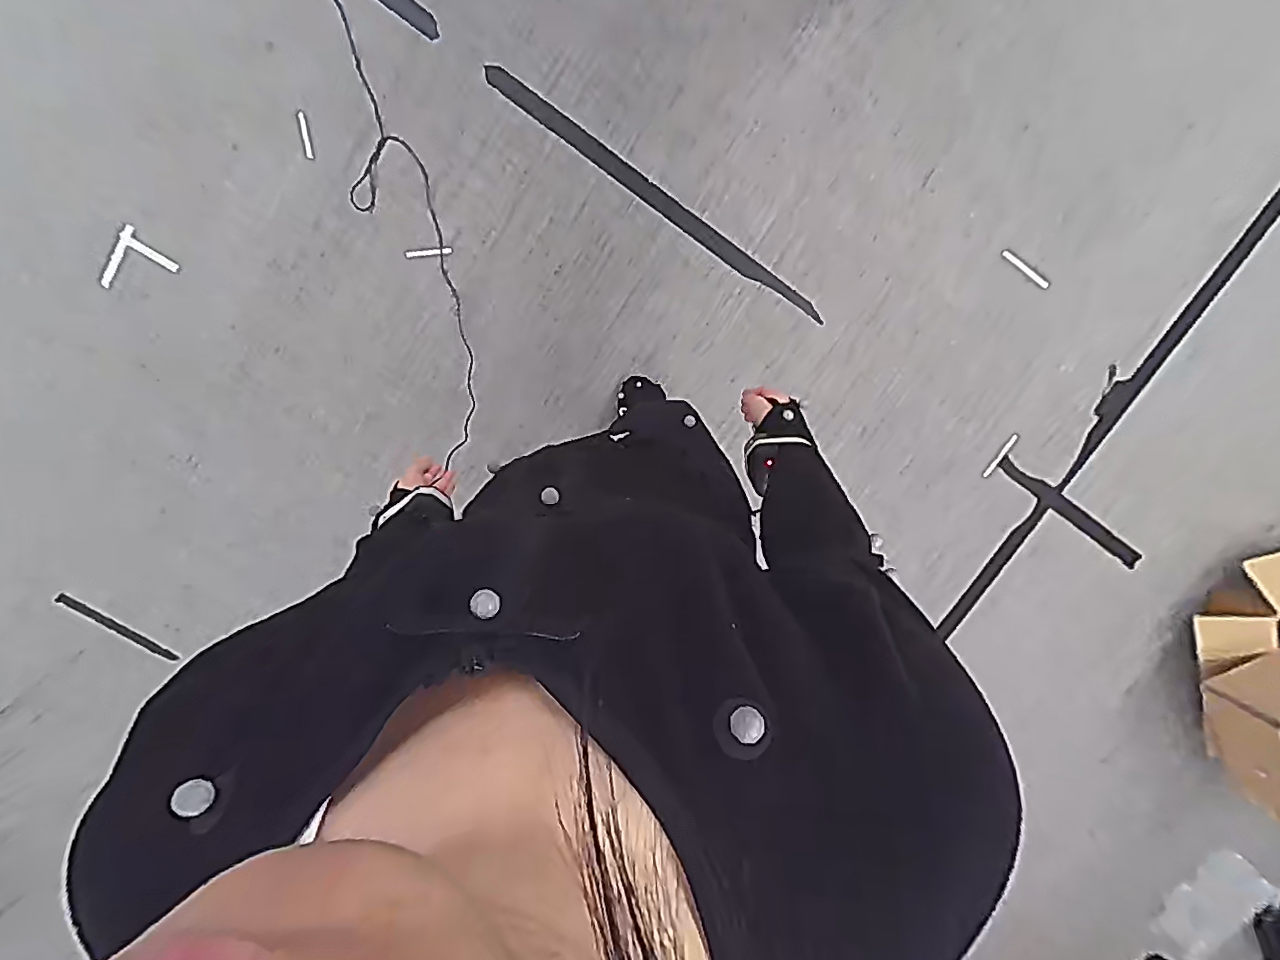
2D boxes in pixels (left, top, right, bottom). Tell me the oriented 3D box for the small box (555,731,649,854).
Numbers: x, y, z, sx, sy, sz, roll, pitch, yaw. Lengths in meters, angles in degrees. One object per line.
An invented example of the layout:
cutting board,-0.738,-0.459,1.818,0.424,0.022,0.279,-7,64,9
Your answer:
small box,-0.093,0.795,1.390,0.168,0.176,0.179,38,96,-8
